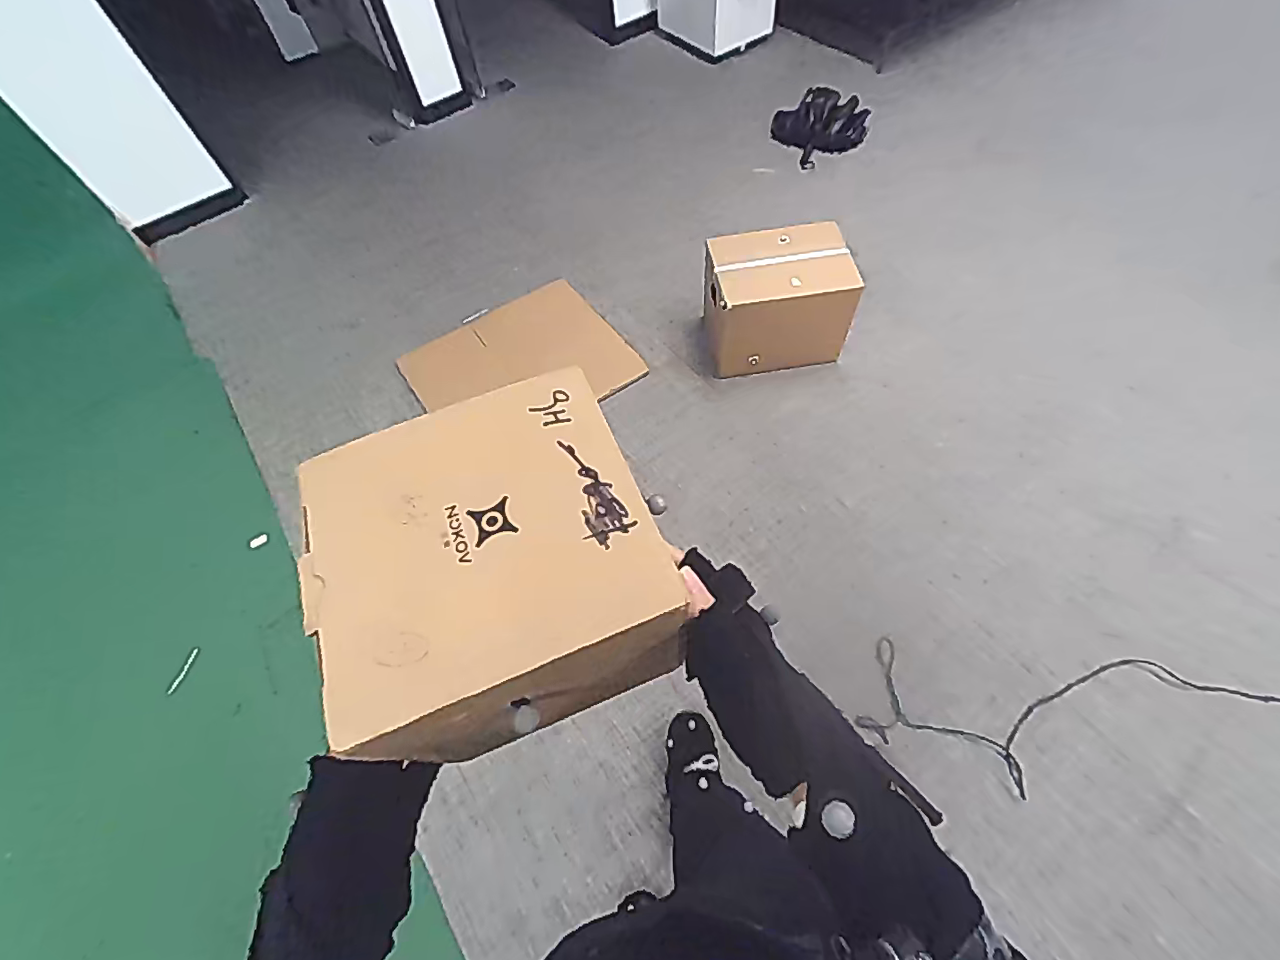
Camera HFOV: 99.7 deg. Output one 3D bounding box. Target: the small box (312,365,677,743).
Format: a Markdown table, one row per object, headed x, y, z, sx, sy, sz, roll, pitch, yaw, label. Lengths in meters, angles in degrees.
| x | y | z | sx | sy | sz | roll | pitch | yaw | label |
| --- | --- | --- | --- | --- | --- | --- | --- | --- | --- |
| -0.084 | 0.060 | 0.372 | 0.179 | 0.176 | 0.168 | -24 | 61 | -10 | small box |
